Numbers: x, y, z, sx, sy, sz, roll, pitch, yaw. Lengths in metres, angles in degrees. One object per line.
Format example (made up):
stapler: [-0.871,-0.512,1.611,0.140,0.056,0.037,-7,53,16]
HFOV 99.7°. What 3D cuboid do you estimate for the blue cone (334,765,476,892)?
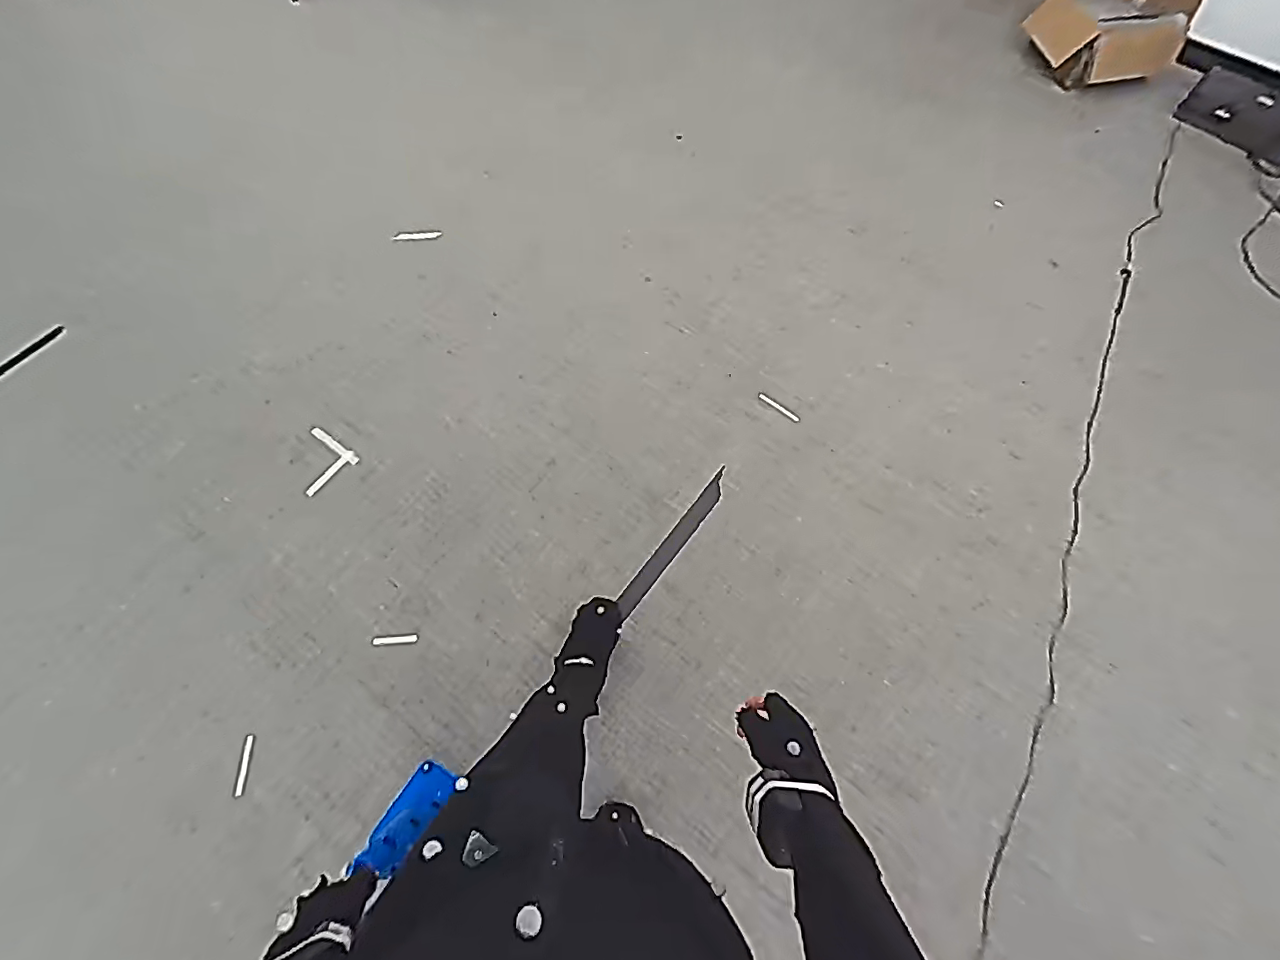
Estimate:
blue cone: [-0.466,0.689,1.025,0.192,0.380,0.193,33,69,12]
